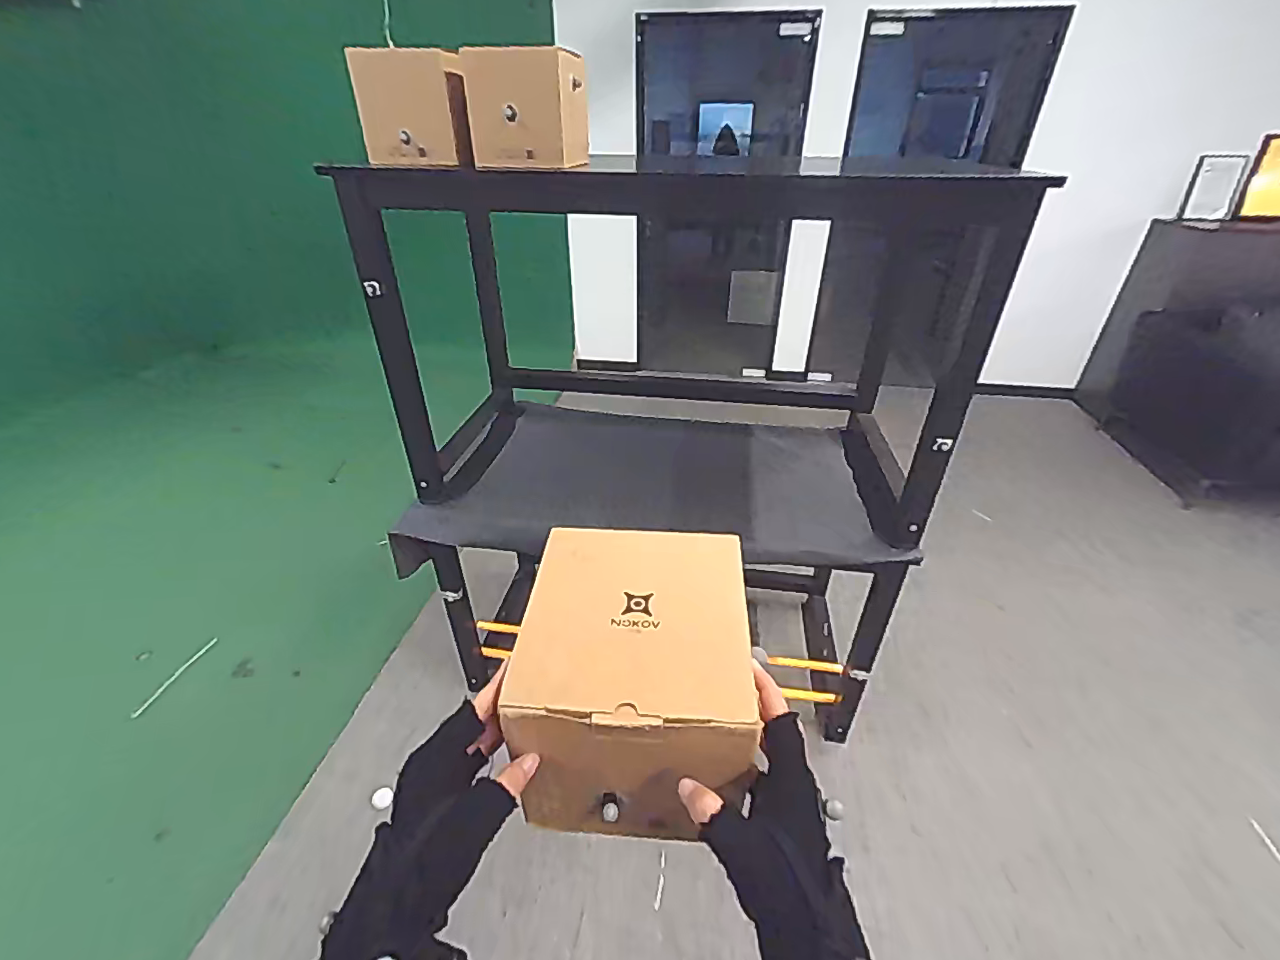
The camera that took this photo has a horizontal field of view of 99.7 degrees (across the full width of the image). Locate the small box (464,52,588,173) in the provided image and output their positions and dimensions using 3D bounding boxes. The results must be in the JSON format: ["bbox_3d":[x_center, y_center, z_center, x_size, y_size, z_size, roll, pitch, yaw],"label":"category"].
[{"bbox_3d":[-0.191,-0.654,0.973,0.168,0.176,0.179,6,33,8],"label":"small box"}]
